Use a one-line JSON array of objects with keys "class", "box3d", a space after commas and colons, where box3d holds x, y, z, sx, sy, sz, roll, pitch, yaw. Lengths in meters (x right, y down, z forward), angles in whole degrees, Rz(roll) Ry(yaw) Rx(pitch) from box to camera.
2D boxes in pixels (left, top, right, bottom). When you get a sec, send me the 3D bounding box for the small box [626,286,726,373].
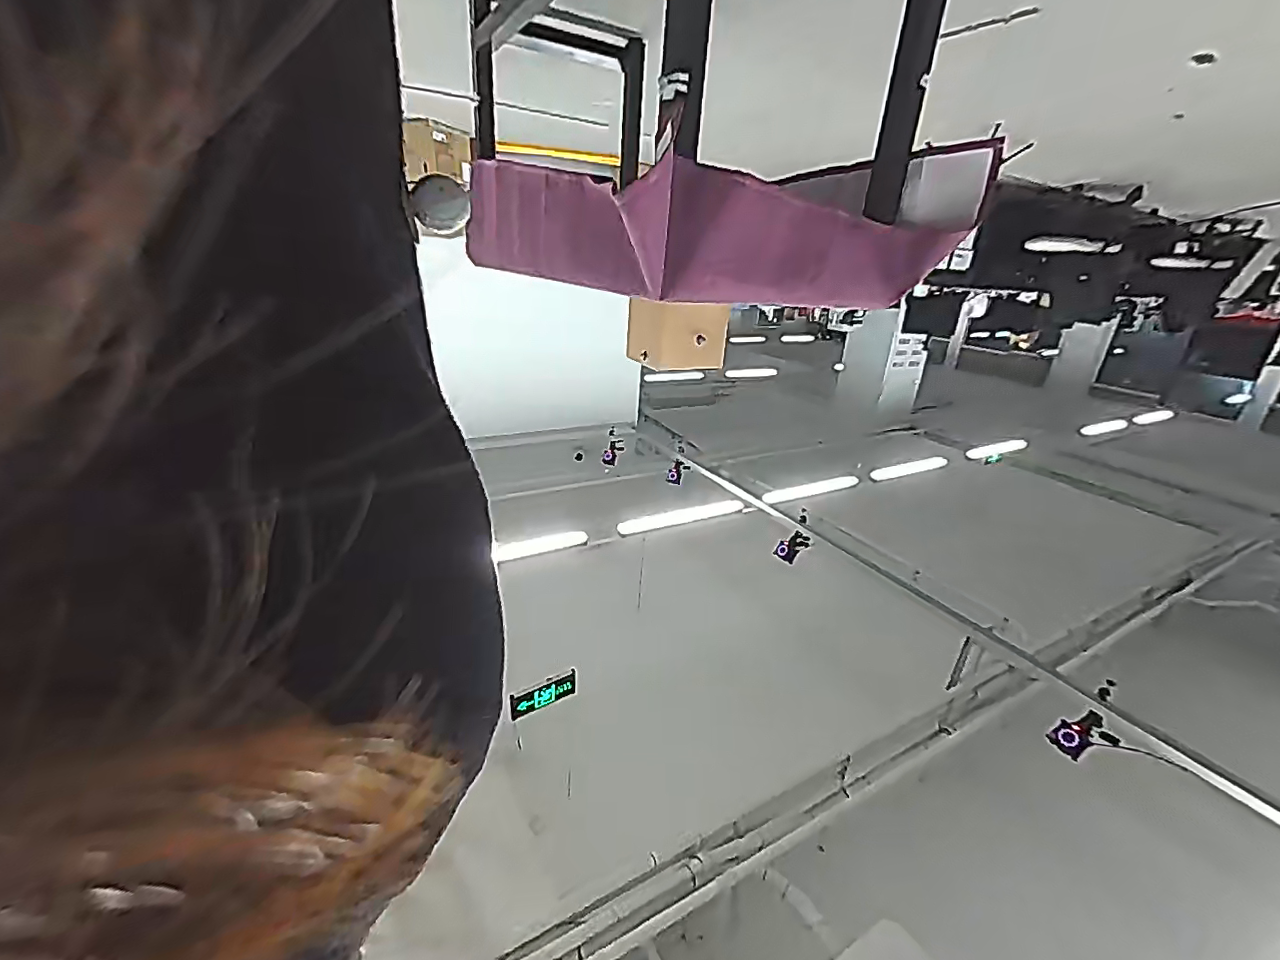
[{"class": "small box", "box3d": [0.082, -0.356, 1.262, 0.179, 0.176, 0.168, -9, -154, -27]}]
